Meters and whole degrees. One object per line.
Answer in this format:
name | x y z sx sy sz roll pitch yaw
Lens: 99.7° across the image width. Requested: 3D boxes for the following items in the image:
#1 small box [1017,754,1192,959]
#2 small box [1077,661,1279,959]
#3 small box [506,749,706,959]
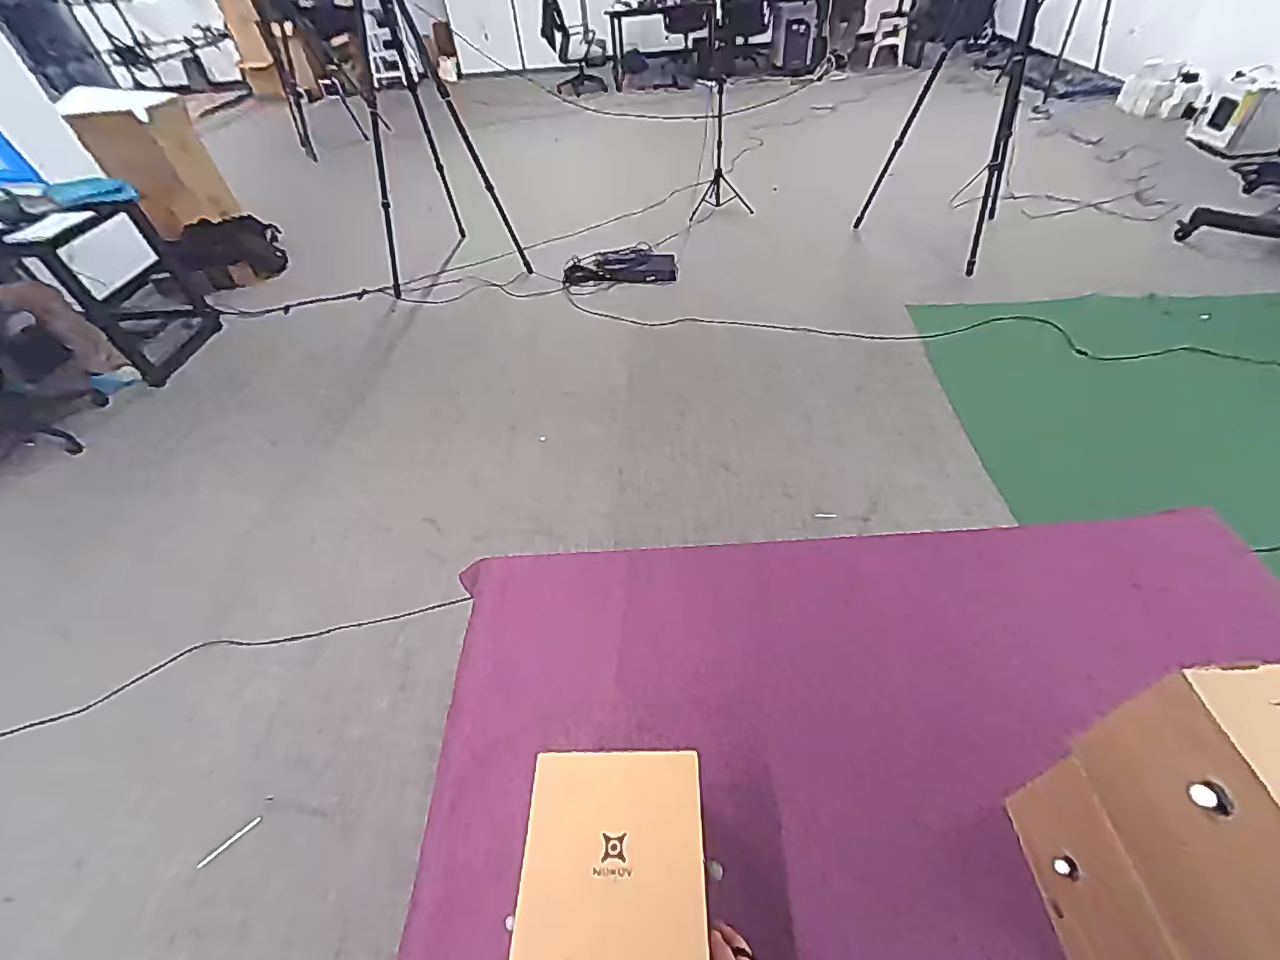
small box | 0.497 0.372 0.511 0.179 0.176 0.168 -2 46 4
small box | 0.484 0.252 0.399 0.168 0.176 0.179 -4 46 2
small box | -0.022 0.393 0.548 0.168 0.176 0.179 -2 46 3
